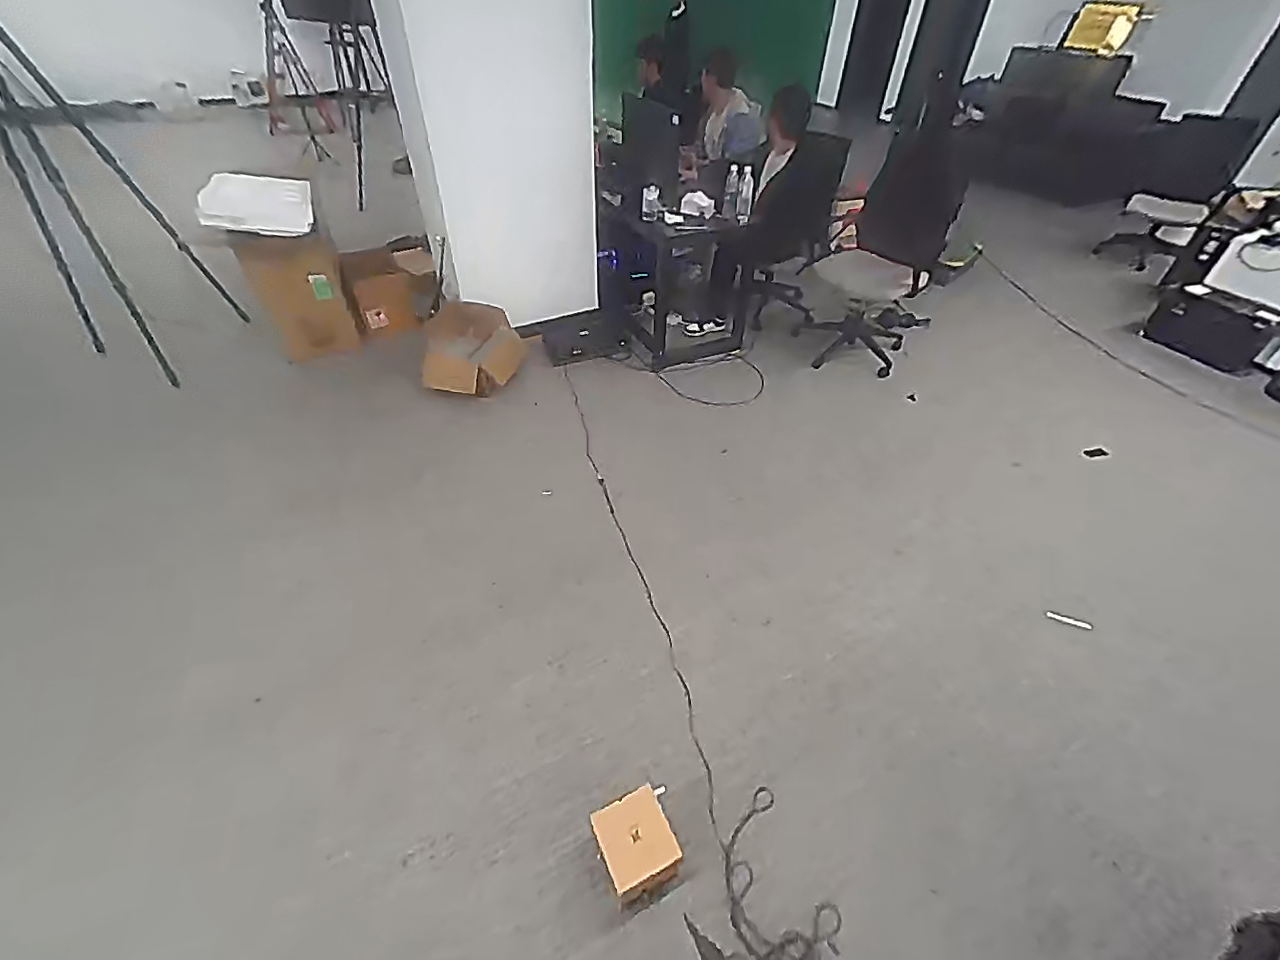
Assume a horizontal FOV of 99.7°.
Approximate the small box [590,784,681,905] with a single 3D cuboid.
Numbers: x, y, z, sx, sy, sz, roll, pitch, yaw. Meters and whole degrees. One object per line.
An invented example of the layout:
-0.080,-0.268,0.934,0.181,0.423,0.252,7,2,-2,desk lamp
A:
-0.016,0.889,1.317,0.168,0.176,0.179,-18,47,-18,small box
